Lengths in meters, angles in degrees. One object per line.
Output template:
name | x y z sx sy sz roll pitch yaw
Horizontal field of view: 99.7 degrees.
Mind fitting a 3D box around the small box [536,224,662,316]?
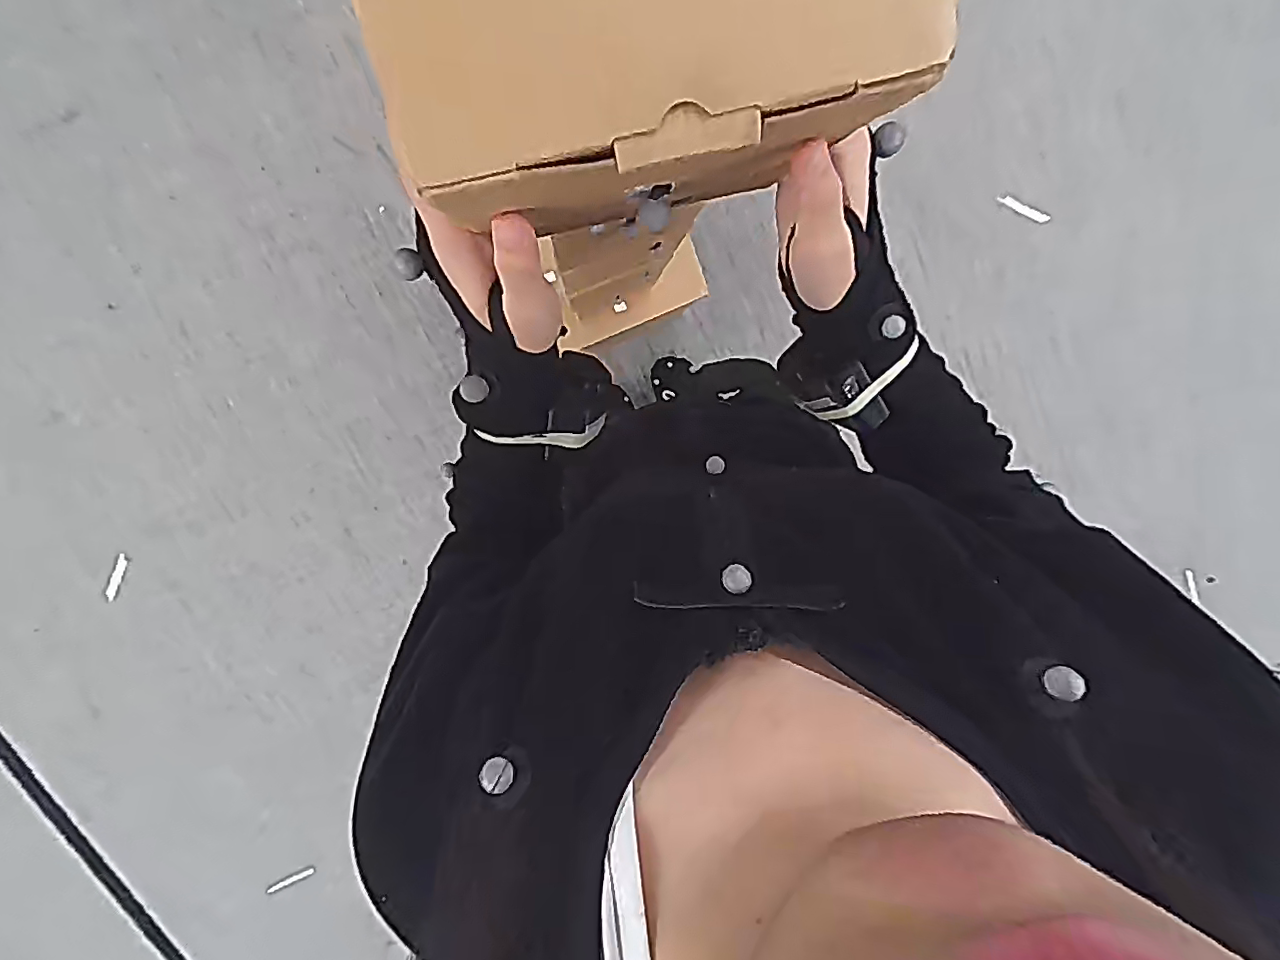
small box | -0.077 -0.427 1.024 0.179 0.176 0.168 -26 103 -1

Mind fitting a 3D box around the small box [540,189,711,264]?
small box | -0.035 -0.338 0.544 0.179 0.176 0.168 -21 103 -1

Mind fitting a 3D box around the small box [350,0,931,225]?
small box | -0.014 -0.209 0.210 0.168 0.176 0.179 -14 111 -1

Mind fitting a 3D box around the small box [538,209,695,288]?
small box | -0.049 -0.367 0.702 0.179 0.176 0.168 -22 102 -1
